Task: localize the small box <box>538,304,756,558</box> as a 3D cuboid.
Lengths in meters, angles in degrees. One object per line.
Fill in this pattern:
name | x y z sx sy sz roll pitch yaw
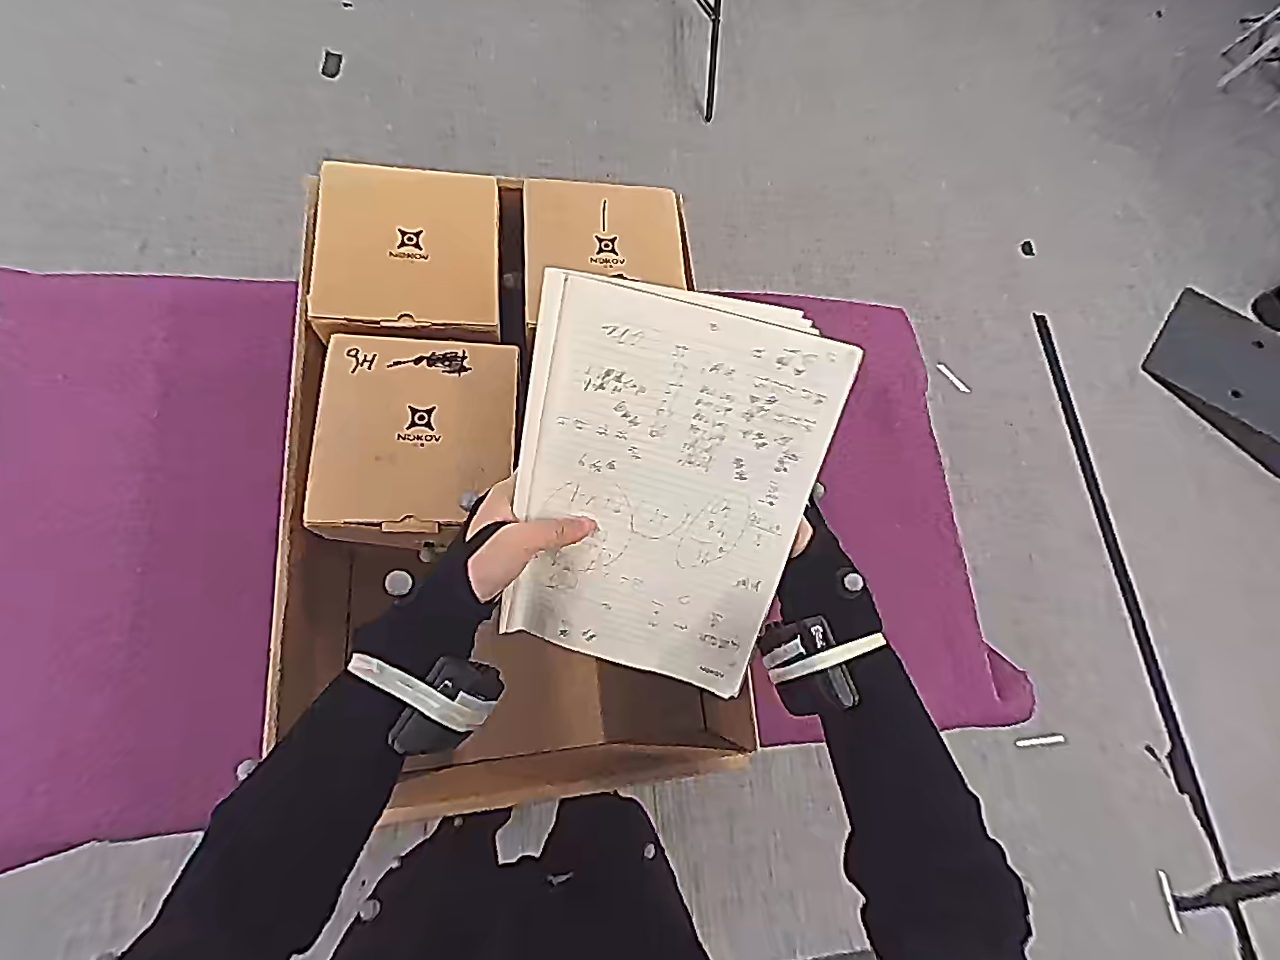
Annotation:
small box | -0.007 -0.034 0.513 0.168 0.176 0.179 3 68 -12
